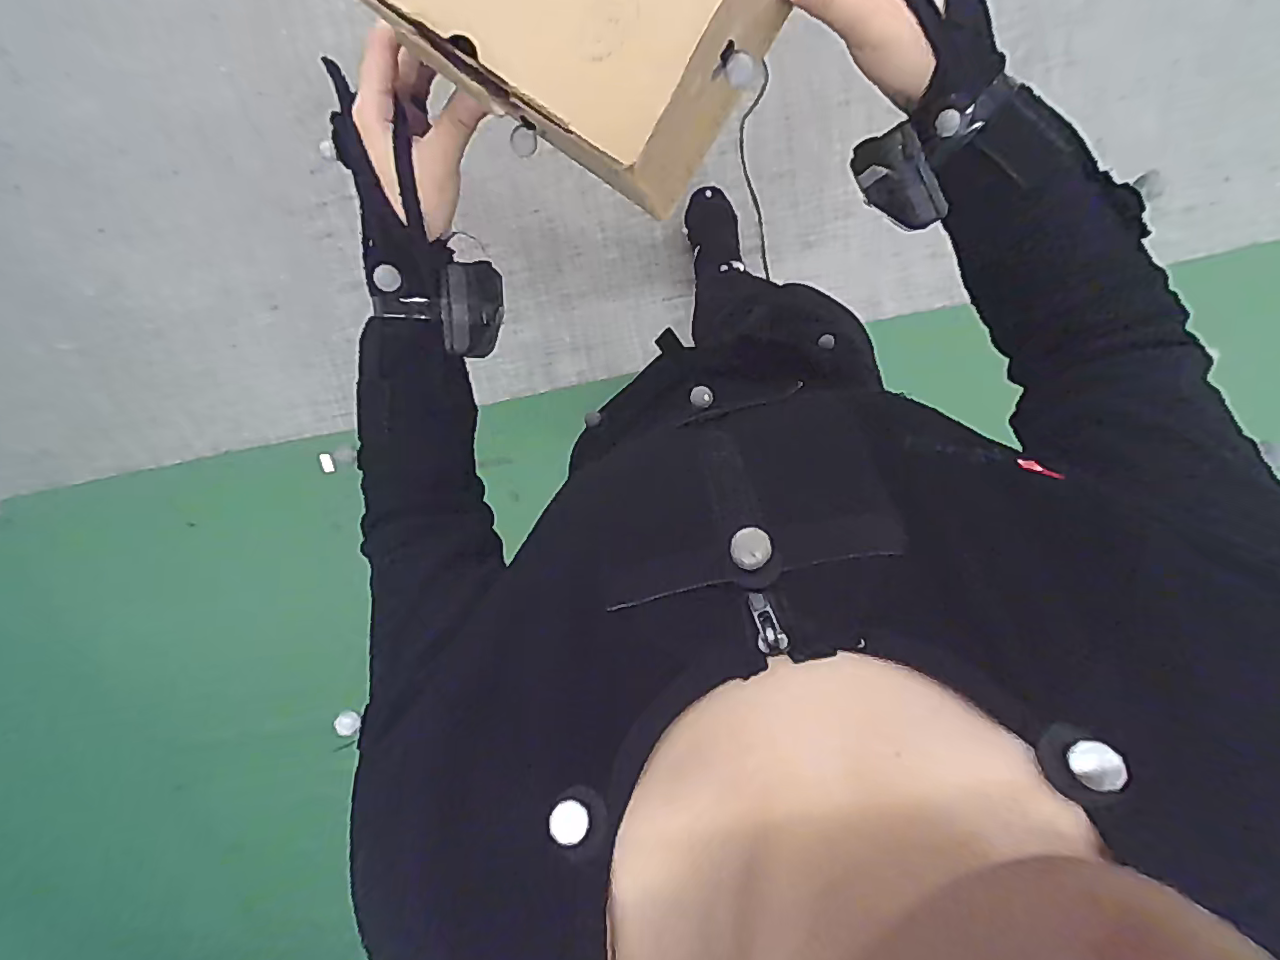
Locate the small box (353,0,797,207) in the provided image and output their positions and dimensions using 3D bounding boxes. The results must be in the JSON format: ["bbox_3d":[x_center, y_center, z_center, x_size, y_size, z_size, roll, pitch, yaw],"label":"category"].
[{"bbox_3d":[-0.014,-0.266,0.271,0.168,0.176,0.179,32,111,-3],"label":"small box"}]
